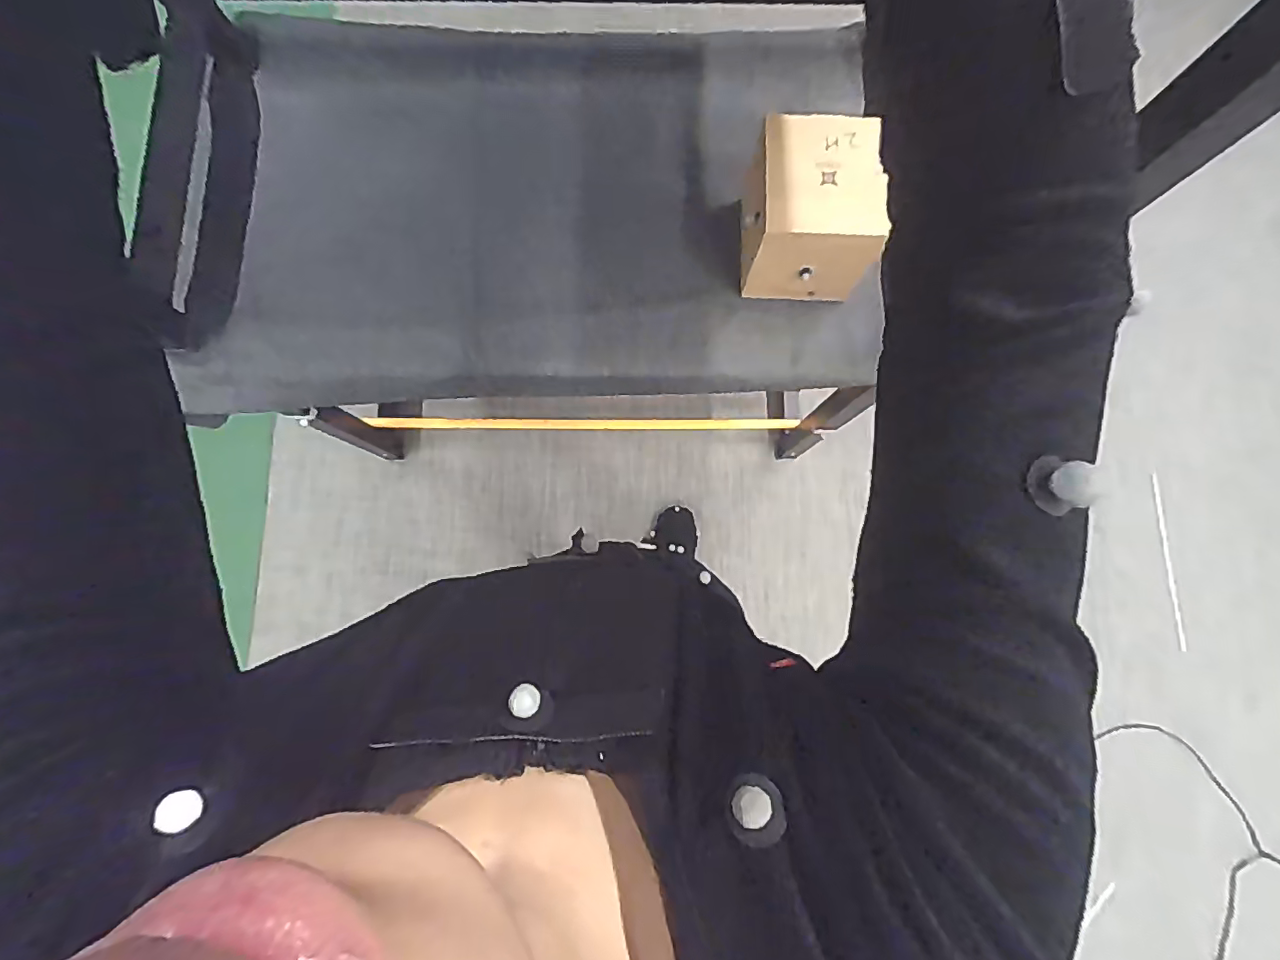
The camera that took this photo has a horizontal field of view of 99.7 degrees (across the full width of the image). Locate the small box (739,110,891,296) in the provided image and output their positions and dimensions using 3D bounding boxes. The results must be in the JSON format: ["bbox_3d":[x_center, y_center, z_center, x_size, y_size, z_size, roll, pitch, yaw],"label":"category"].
[{"bbox_3d":[0.241,-0.383,0.775,0.168,0.176,0.179,3,80,0],"label":"small box"}]
